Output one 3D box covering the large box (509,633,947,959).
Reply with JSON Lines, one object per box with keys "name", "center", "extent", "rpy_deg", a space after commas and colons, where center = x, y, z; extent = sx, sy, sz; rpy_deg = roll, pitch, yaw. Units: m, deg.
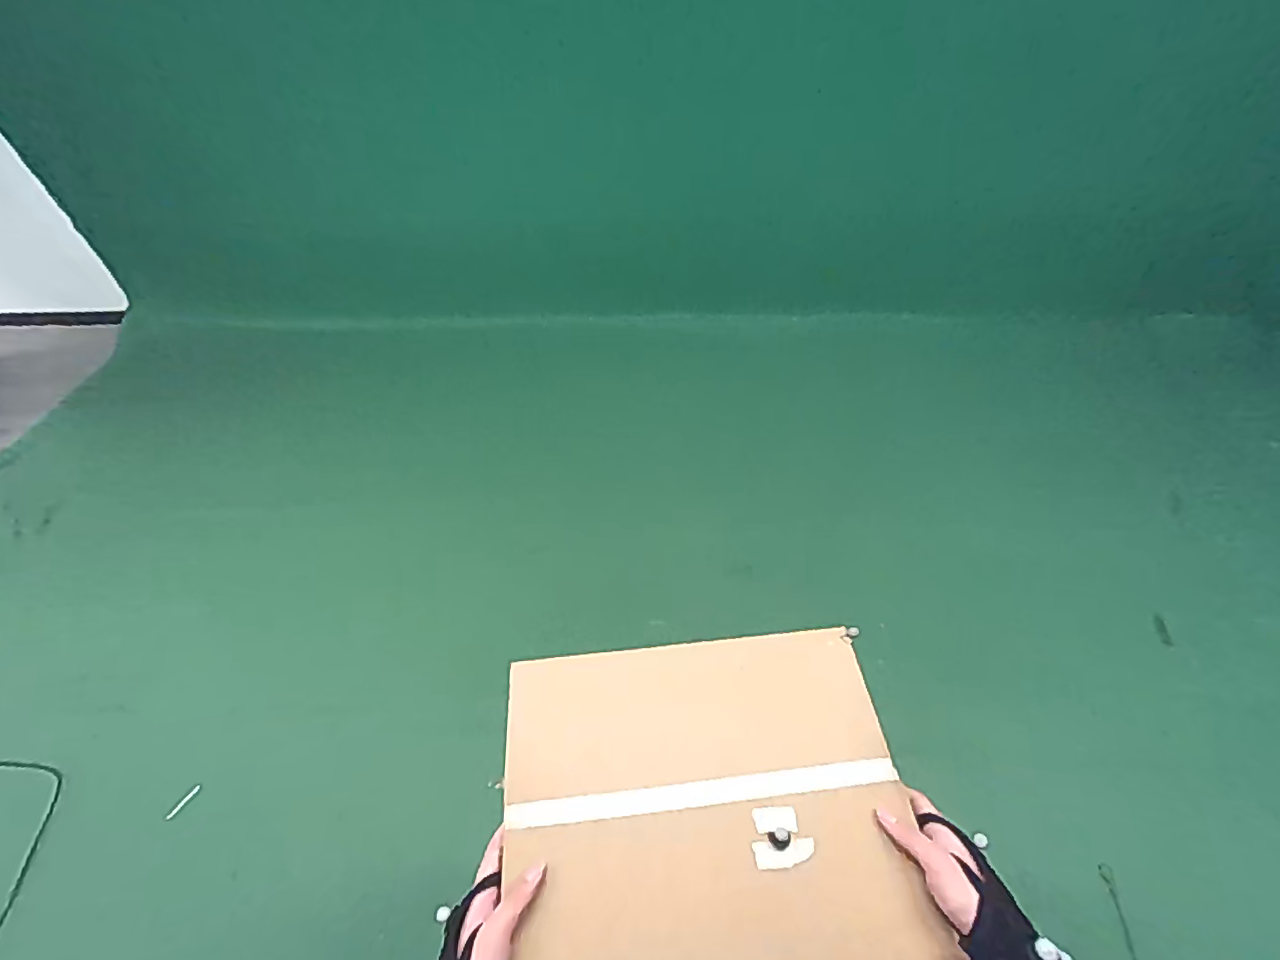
{"name": "large box", "center": [0.066, 0.420, 0.680], "extent": [0.408, 0.320, 0.320], "rpy_deg": [-5, 53, -3]}
